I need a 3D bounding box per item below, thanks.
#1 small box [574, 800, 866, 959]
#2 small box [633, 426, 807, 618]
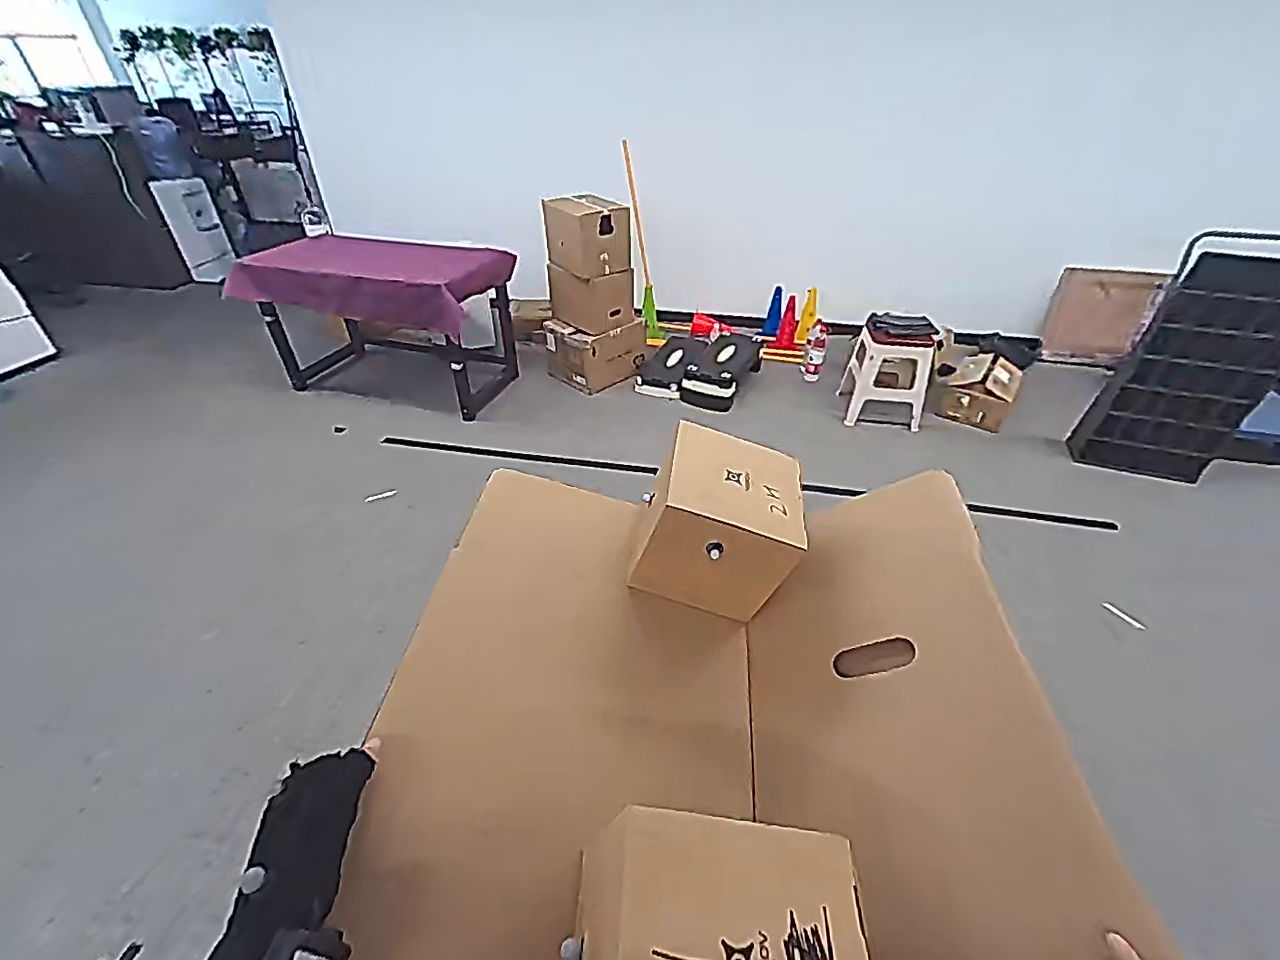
[{"bbox_3d":[0.050,0.365,0.407,0.179,0.176,0.168,14,44,-8],"label":"small box"},{"bbox_3d":[0.102,0.061,0.731,0.179,0.176,0.168,20,43,-5],"label":"small box"}]
